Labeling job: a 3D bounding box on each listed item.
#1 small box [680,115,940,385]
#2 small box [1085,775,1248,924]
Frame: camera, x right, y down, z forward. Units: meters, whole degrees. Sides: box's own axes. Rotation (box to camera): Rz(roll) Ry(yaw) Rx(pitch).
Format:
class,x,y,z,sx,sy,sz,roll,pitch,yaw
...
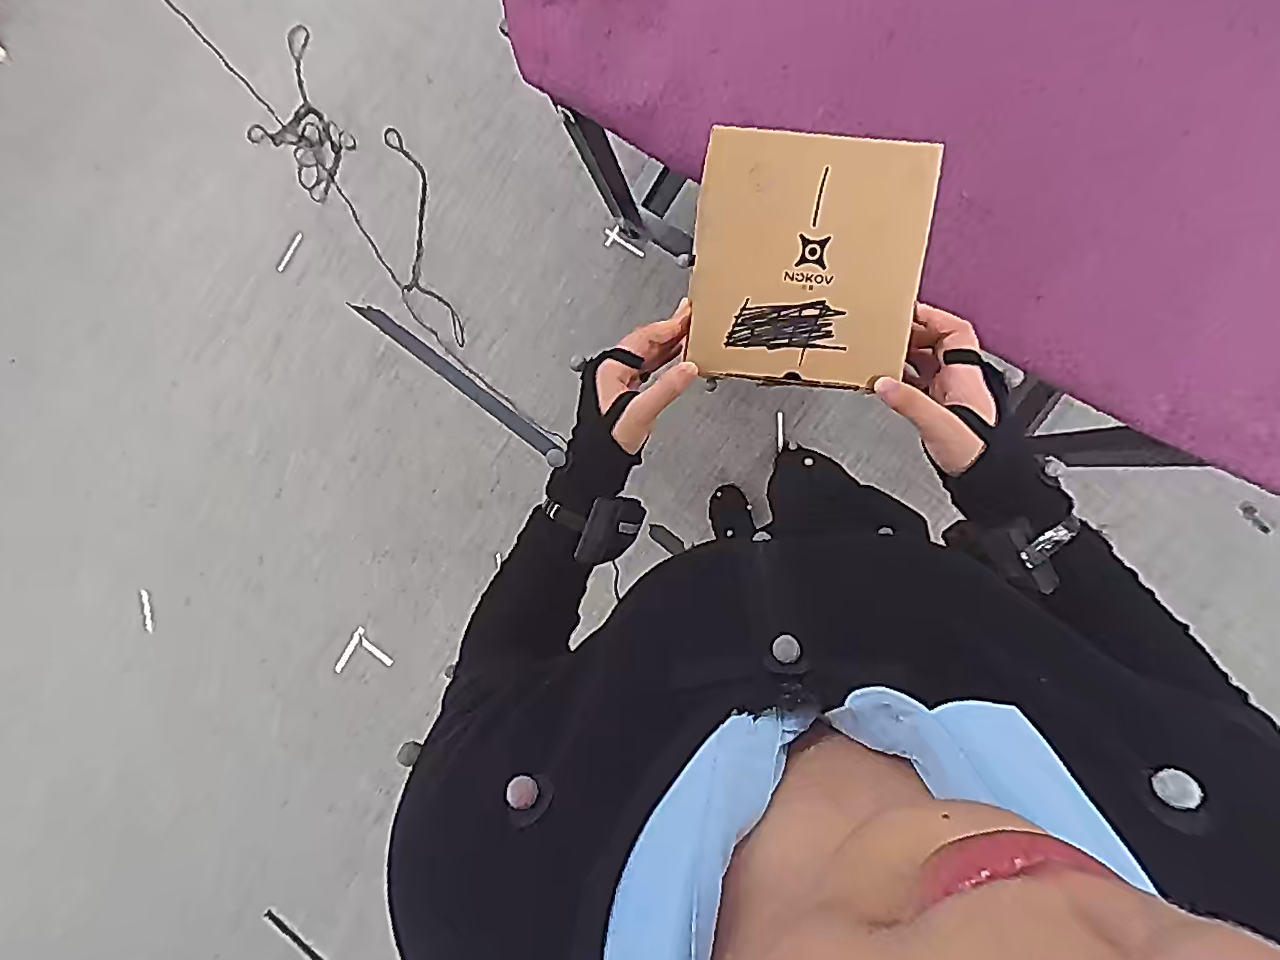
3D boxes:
class,x,y,z,sx,sy,sz,roll,pitch,yaw
small box,0.126,-0.180,0.477,0.168,0.176,0.179,6,100,1
small box,1.160,0.818,1.214,0.168,0.176,0.179,29,98,7
